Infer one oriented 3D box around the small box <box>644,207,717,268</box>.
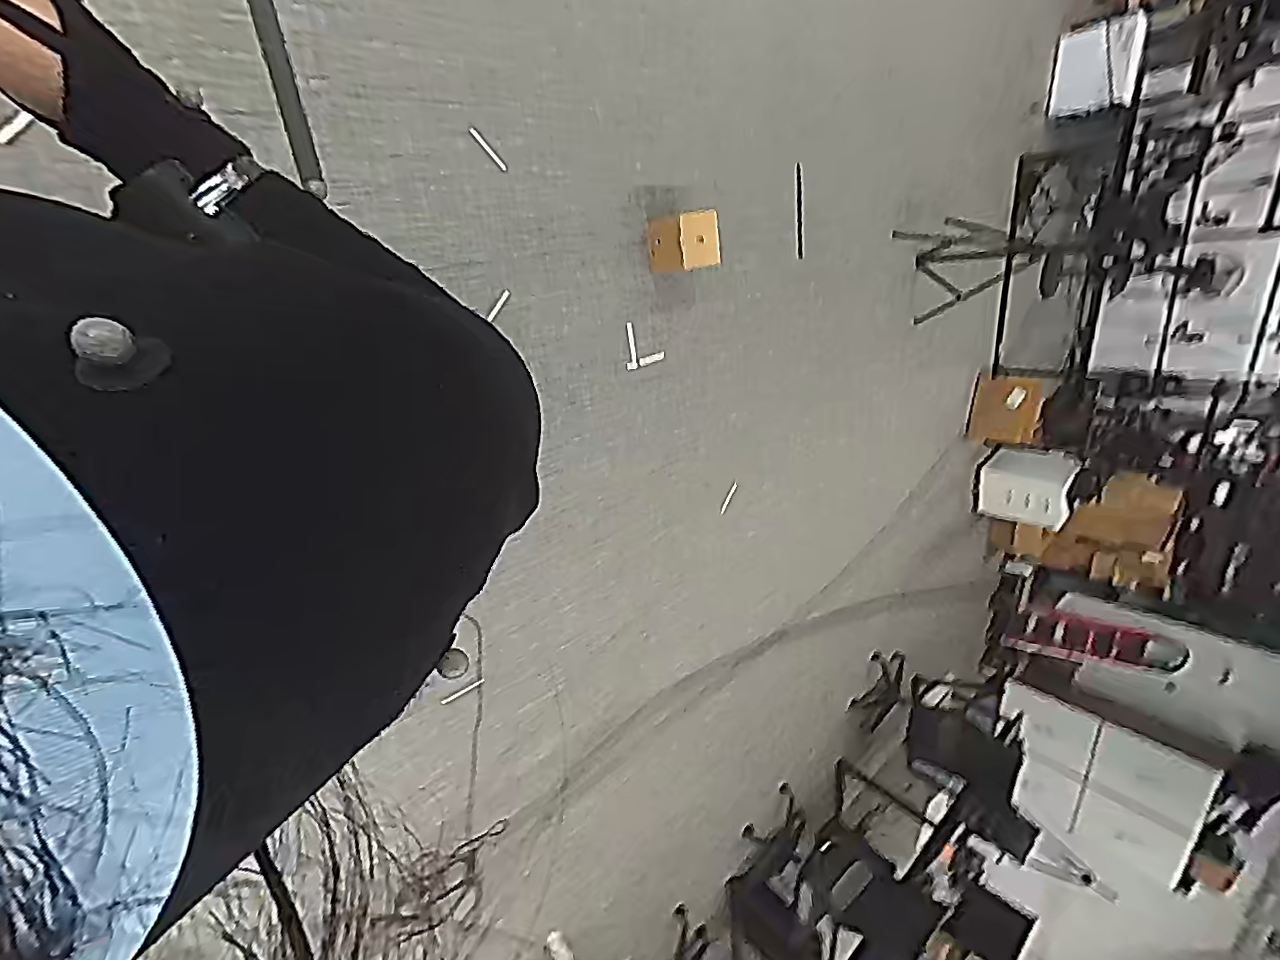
[{"bbox_3d":[0.138,-0.818,1.828,0.179,0.176,0.168,-25,118,-33],"label":"small box"}]
